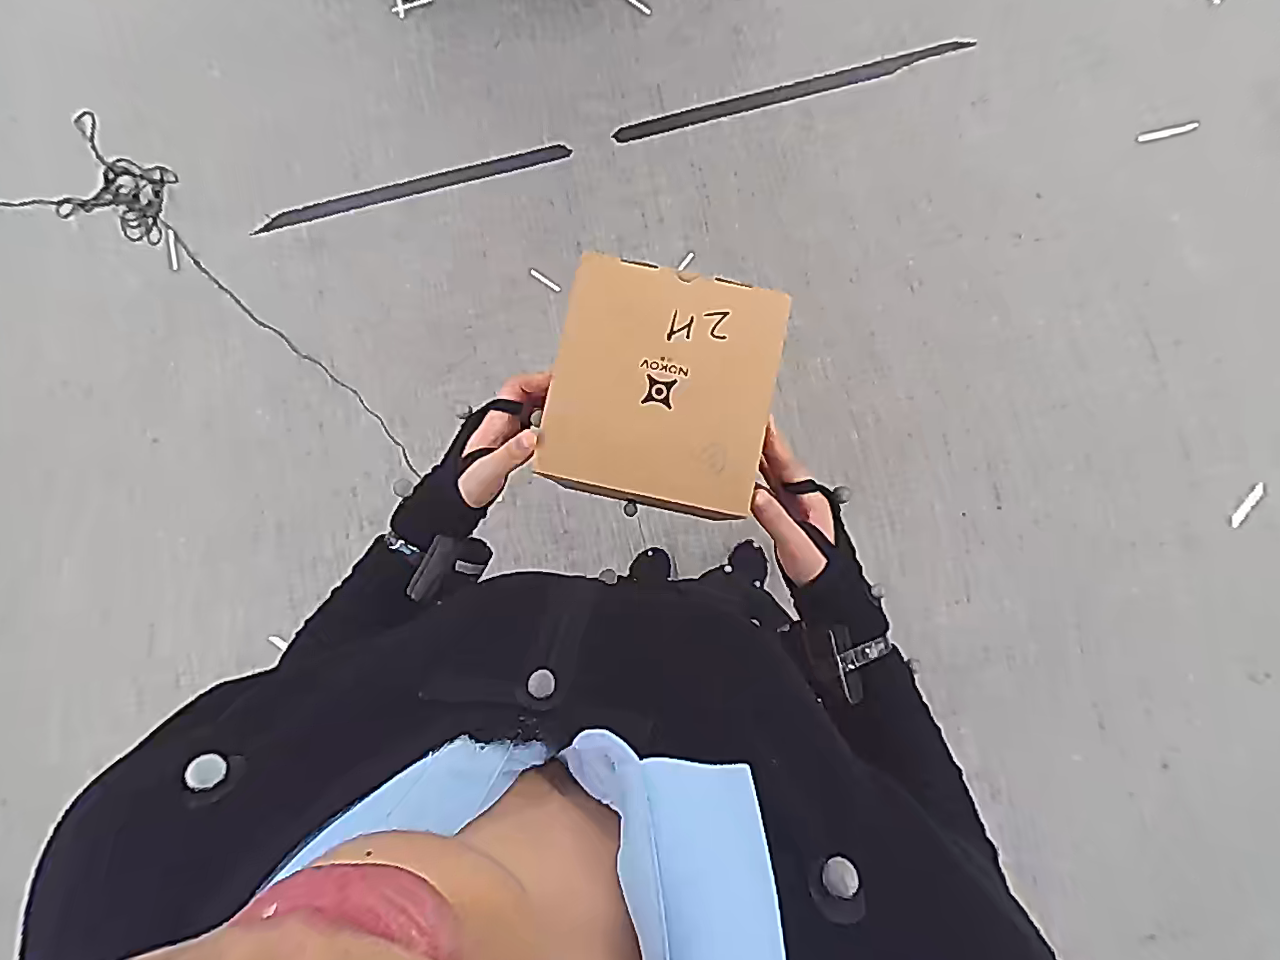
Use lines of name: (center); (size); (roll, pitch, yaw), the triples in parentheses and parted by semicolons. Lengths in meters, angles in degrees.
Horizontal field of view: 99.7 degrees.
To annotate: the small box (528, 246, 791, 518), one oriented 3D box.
small box: (0.016, -0.067, 0.474); (0.168, 0.176, 0.179); (12, 84, 1)
